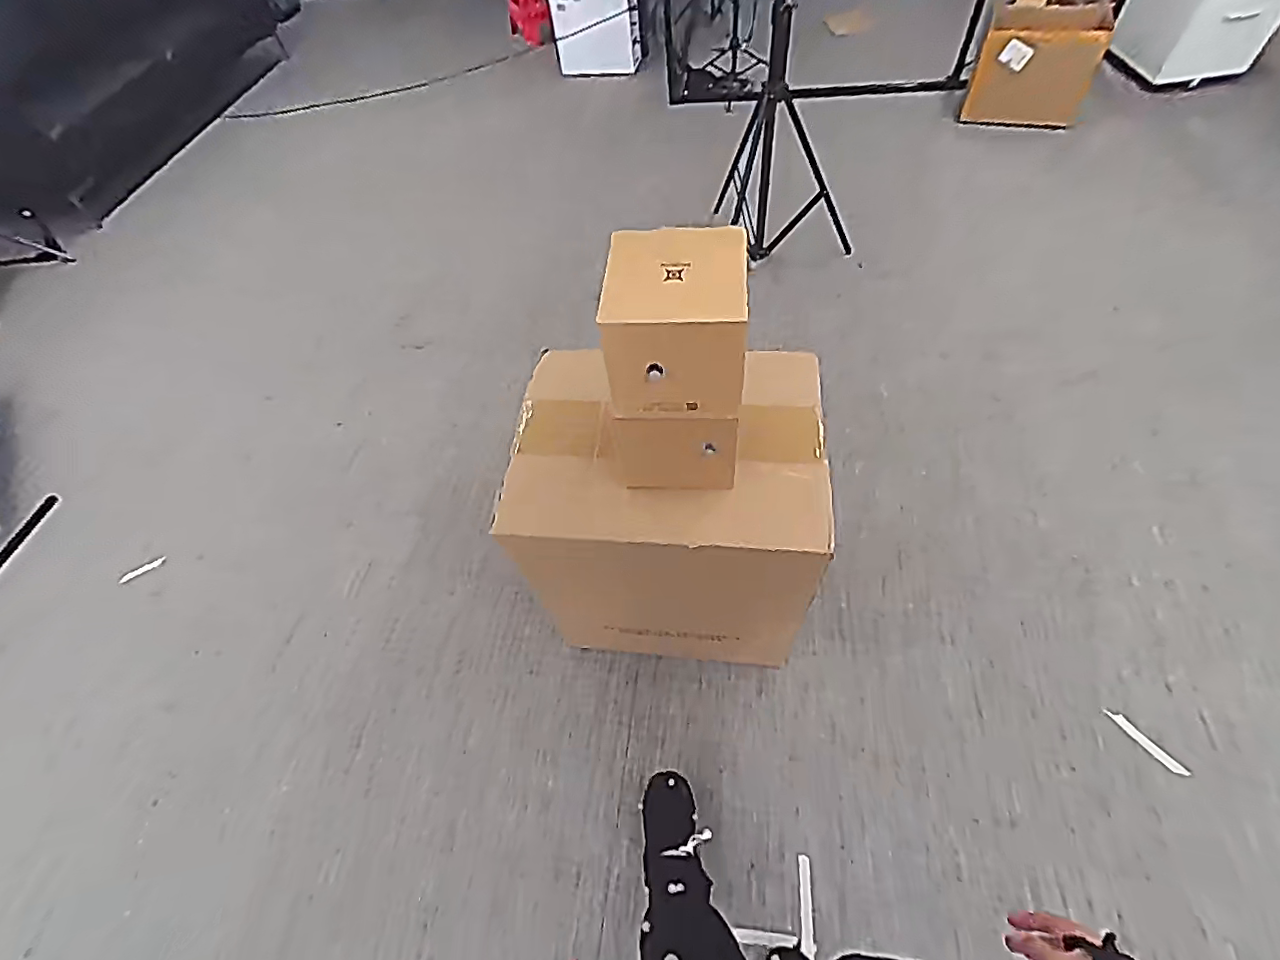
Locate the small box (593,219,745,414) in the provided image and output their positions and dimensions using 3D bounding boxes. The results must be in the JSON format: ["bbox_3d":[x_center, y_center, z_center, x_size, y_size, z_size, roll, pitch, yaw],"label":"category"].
[{"bbox_3d":[0.045,-0.197,0.680,0.168,0.176,0.179,1,56,7],"label":"small box"}]
